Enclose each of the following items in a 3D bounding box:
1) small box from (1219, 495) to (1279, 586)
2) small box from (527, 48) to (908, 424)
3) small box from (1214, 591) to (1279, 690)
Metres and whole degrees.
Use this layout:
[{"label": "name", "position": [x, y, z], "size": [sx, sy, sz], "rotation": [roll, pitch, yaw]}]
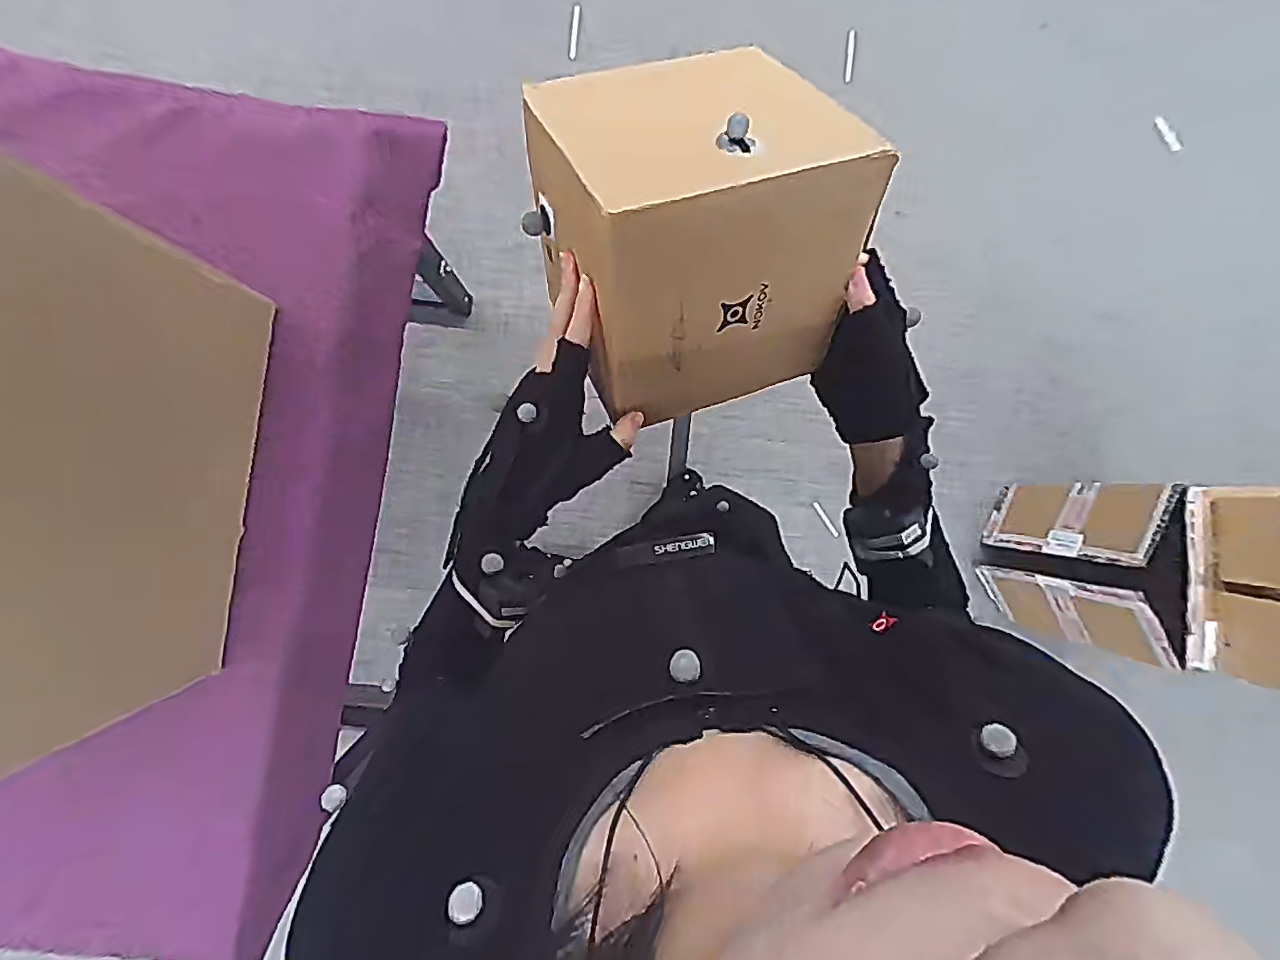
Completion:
[{"label": "small box", "position": [1.277, 0.115, 1.039], "size": [0.168, 0.176, 0.179], "rotation": [-2, 88, -5]}, {"label": "small box", "position": [0.037, -0.173, 0.381], "size": [0.179, 0.168, 0.176], "rotation": [-18, 56, -12]}, {"label": "small box", "position": [1.277, 0.312, 1.037], "size": [0.179, 0.176, 0.168], "rotation": [1, 91, -5]}]
